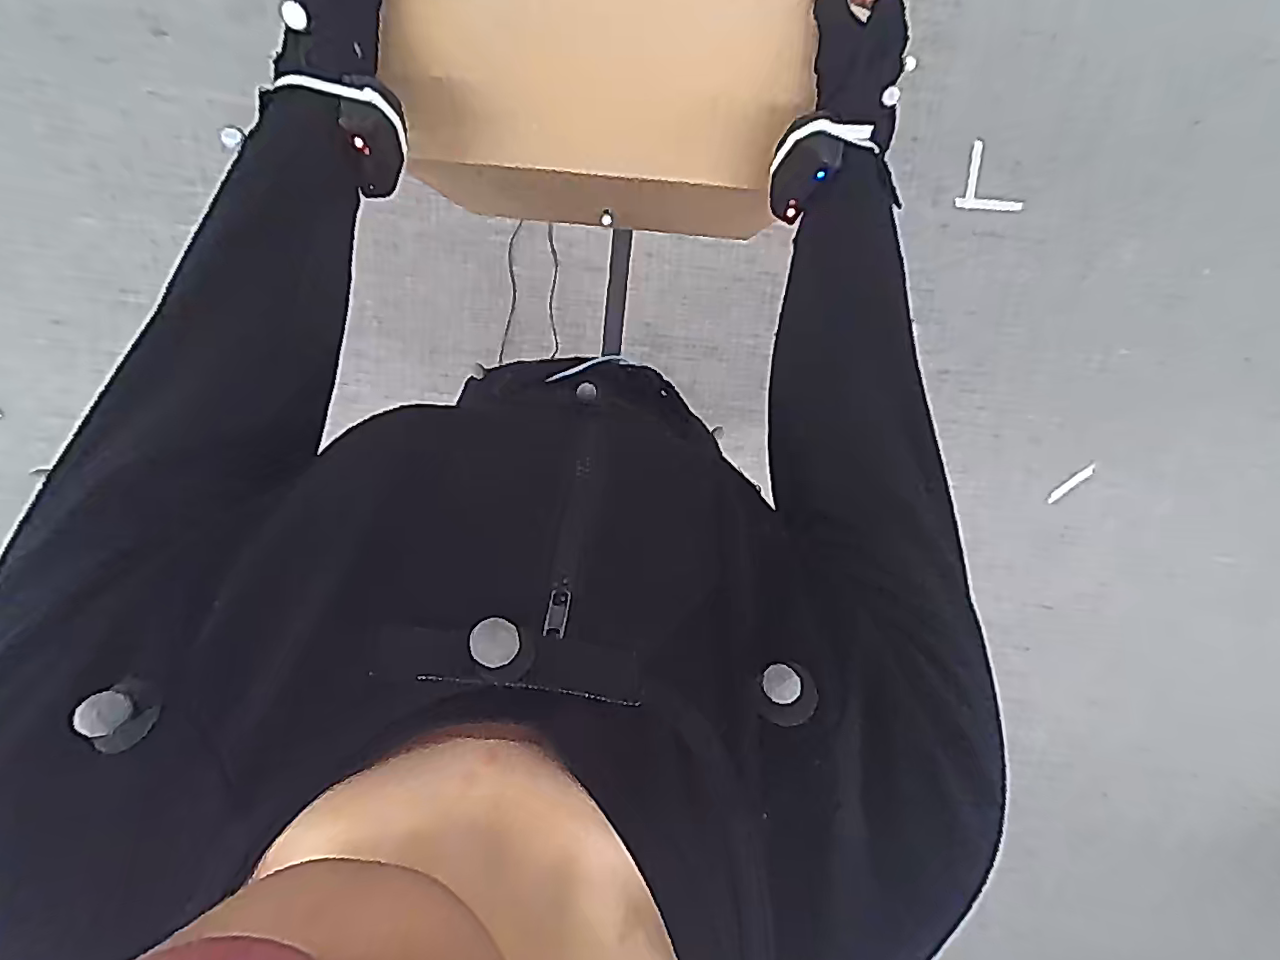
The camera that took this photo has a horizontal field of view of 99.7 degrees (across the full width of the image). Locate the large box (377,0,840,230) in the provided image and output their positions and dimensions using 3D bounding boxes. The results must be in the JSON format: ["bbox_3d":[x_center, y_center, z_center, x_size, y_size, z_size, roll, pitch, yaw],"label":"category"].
[{"bbox_3d":[-0.024,-0.474,0.599,0.408,0.320,0.320,4,106,-2],"label":"large box"}]
